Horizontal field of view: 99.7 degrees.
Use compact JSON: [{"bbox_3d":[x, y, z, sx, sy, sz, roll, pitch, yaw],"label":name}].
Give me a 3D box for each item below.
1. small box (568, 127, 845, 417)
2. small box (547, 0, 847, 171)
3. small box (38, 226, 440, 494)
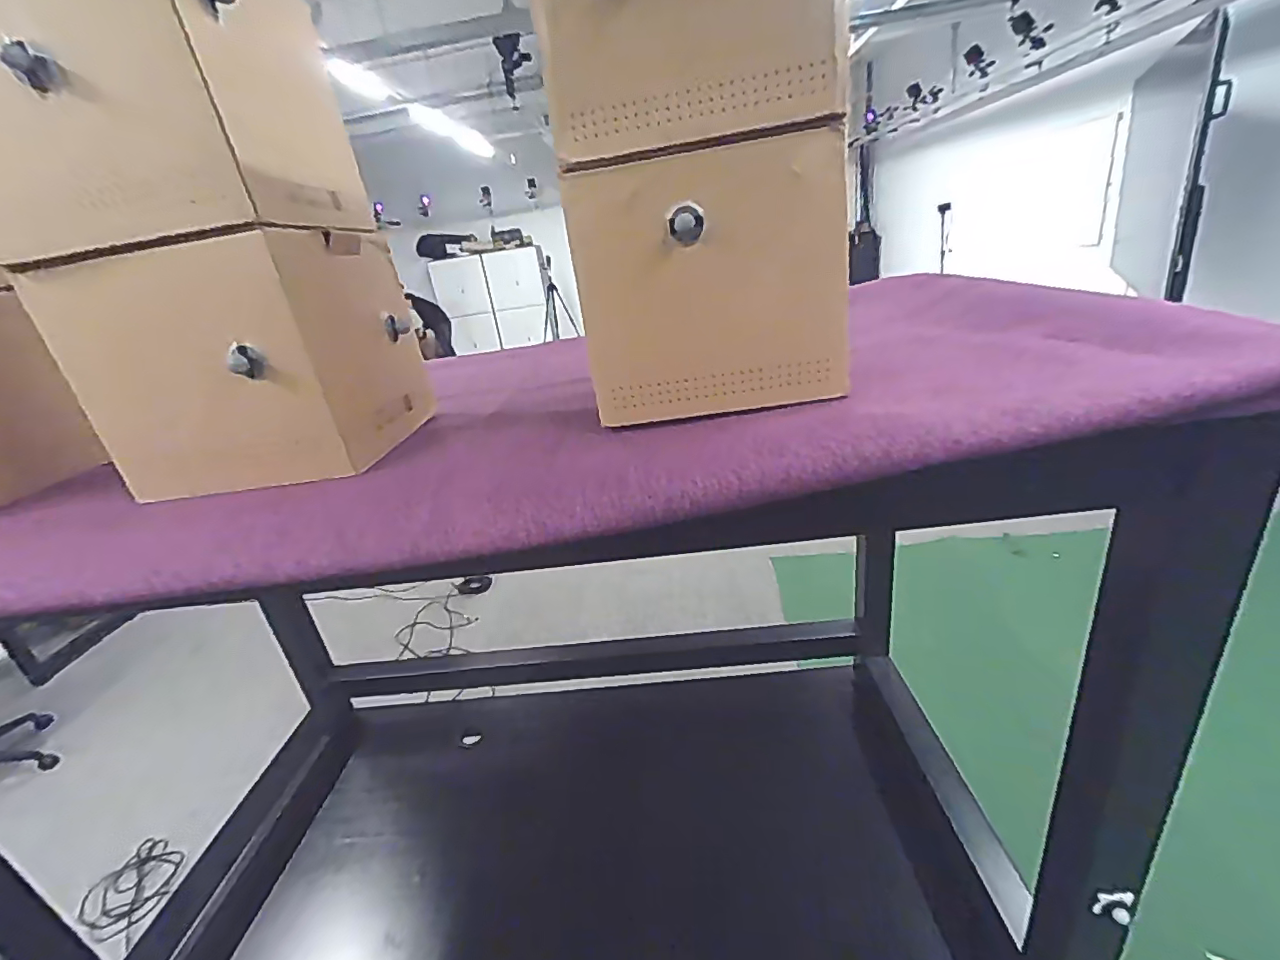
[{"bbox_3d":[0.055,-0.153,0.436,0.179,0.176,0.168,-6,20,6],"label":"small box"},{"bbox_3d":[0.035,-0.306,0.380,0.179,0.176,0.168,-7,20,7],"label":"small box"},{"bbox_3d":[-0.290,-0.101,0.444,0.179,0.176,0.168,-8,22,4],"label":"small box"}]
